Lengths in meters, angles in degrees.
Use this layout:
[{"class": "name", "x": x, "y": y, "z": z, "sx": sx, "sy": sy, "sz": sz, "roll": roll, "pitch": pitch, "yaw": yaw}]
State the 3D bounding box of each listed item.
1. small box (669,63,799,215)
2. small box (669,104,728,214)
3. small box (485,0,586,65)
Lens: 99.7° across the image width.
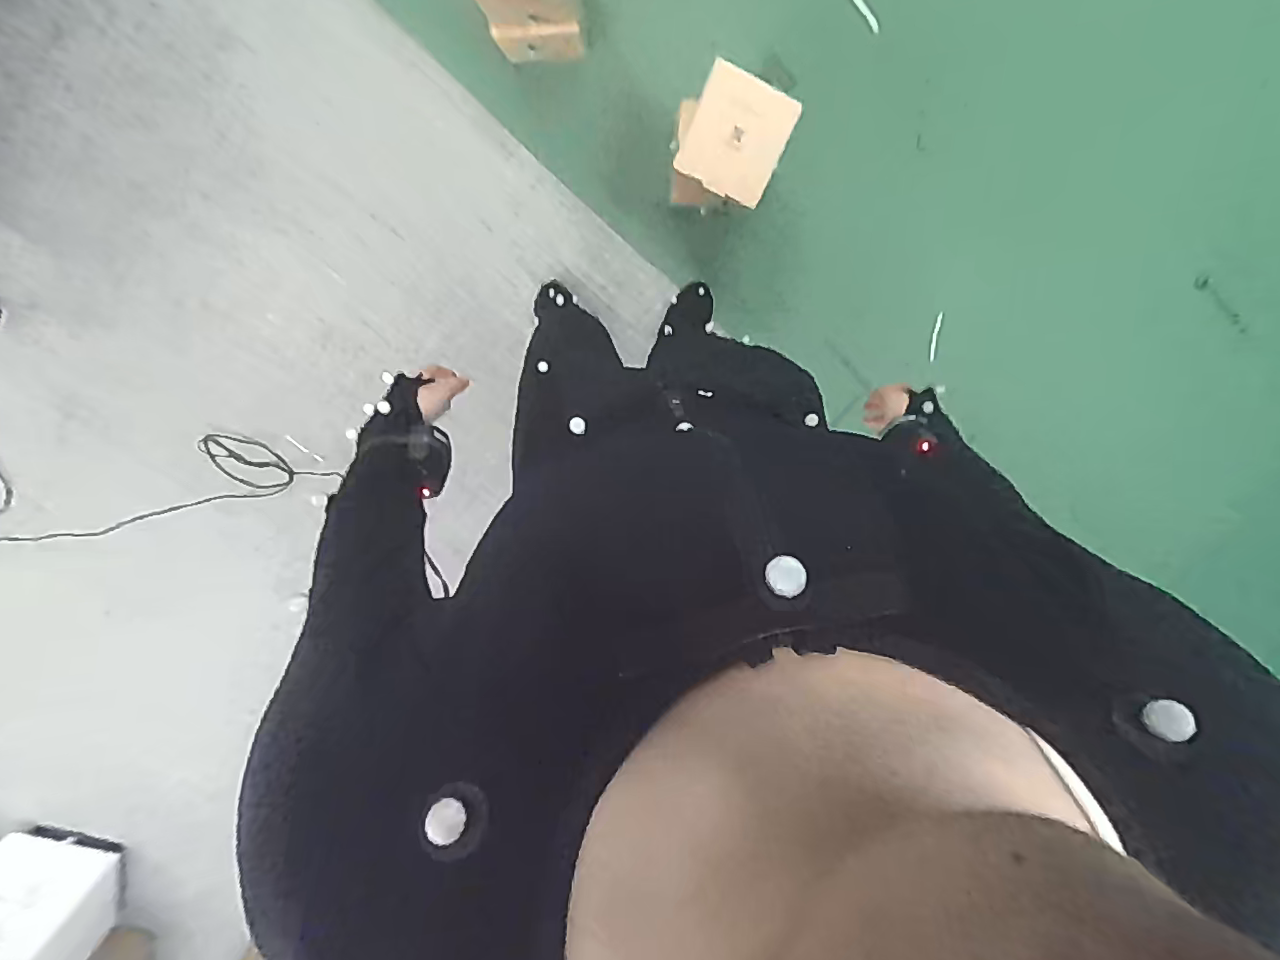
[{"class": "small box", "x": 0.161, "y": -0.609, "z": 0.995, "sx": 0.168, "sy": 0.176, "sz": 0.179, "roll": 21, "pitch": 111, "yaw": -10}, {"class": "small box", "x": 0.153, "y": -0.670, "z": 1.146, "sx": 0.168, "sy": 0.176, "sz": 0.179, "roll": 3, "pitch": 115, "yaw": -1}, {"class": "small box", "x": -0.198, "y": -0.923, "z": 1.037, "sx": 0.168, "sy": 0.176, "sz": 0.179, "roll": -3, "pitch": 113, "yaw": 2}]
